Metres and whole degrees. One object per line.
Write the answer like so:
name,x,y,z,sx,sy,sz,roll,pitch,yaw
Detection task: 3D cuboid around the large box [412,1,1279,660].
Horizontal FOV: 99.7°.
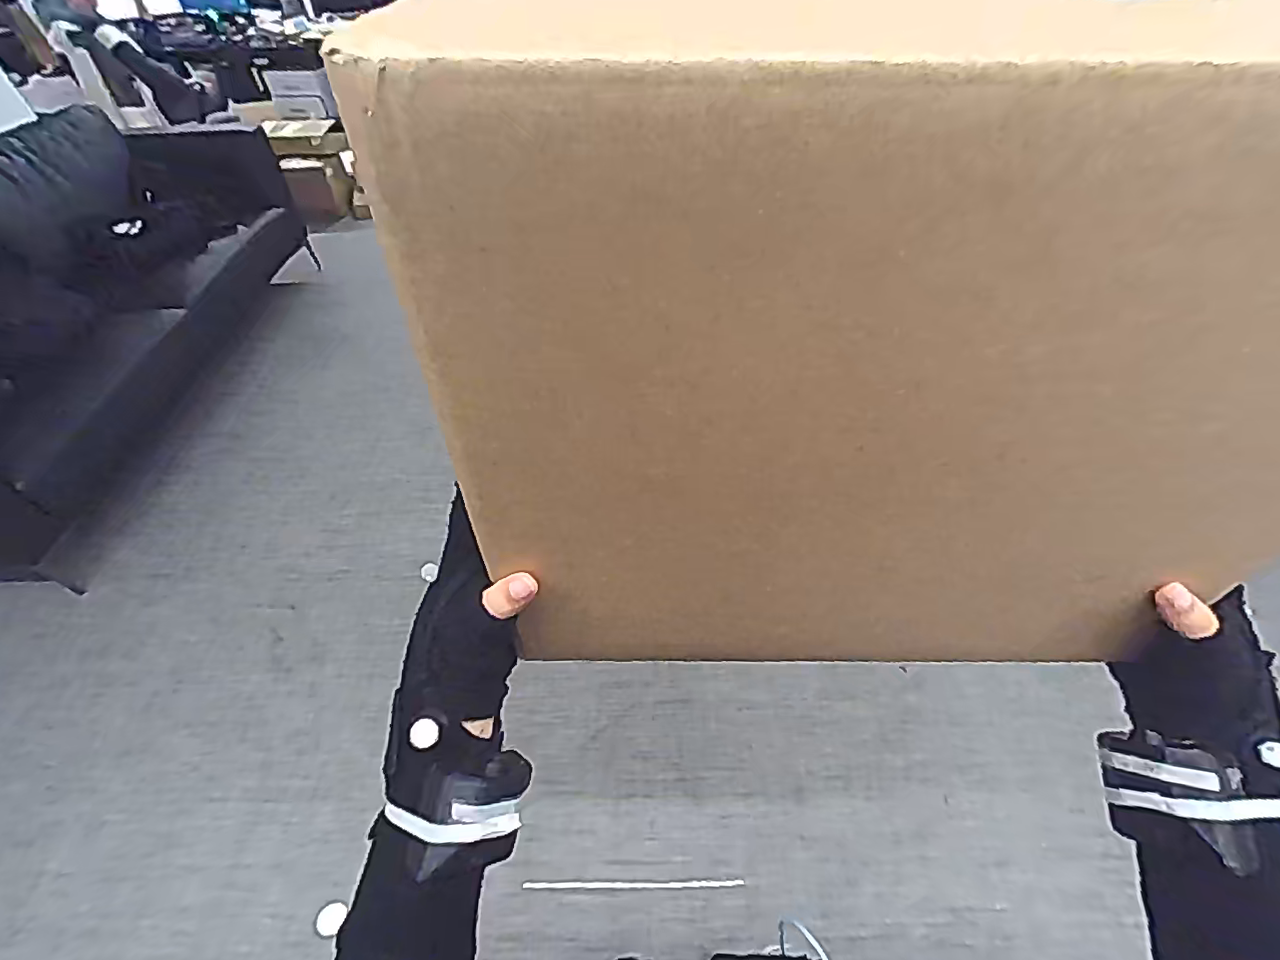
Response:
large box,0.127,-0.097,0.355,0.408,0.320,0.320,0,45,-2
